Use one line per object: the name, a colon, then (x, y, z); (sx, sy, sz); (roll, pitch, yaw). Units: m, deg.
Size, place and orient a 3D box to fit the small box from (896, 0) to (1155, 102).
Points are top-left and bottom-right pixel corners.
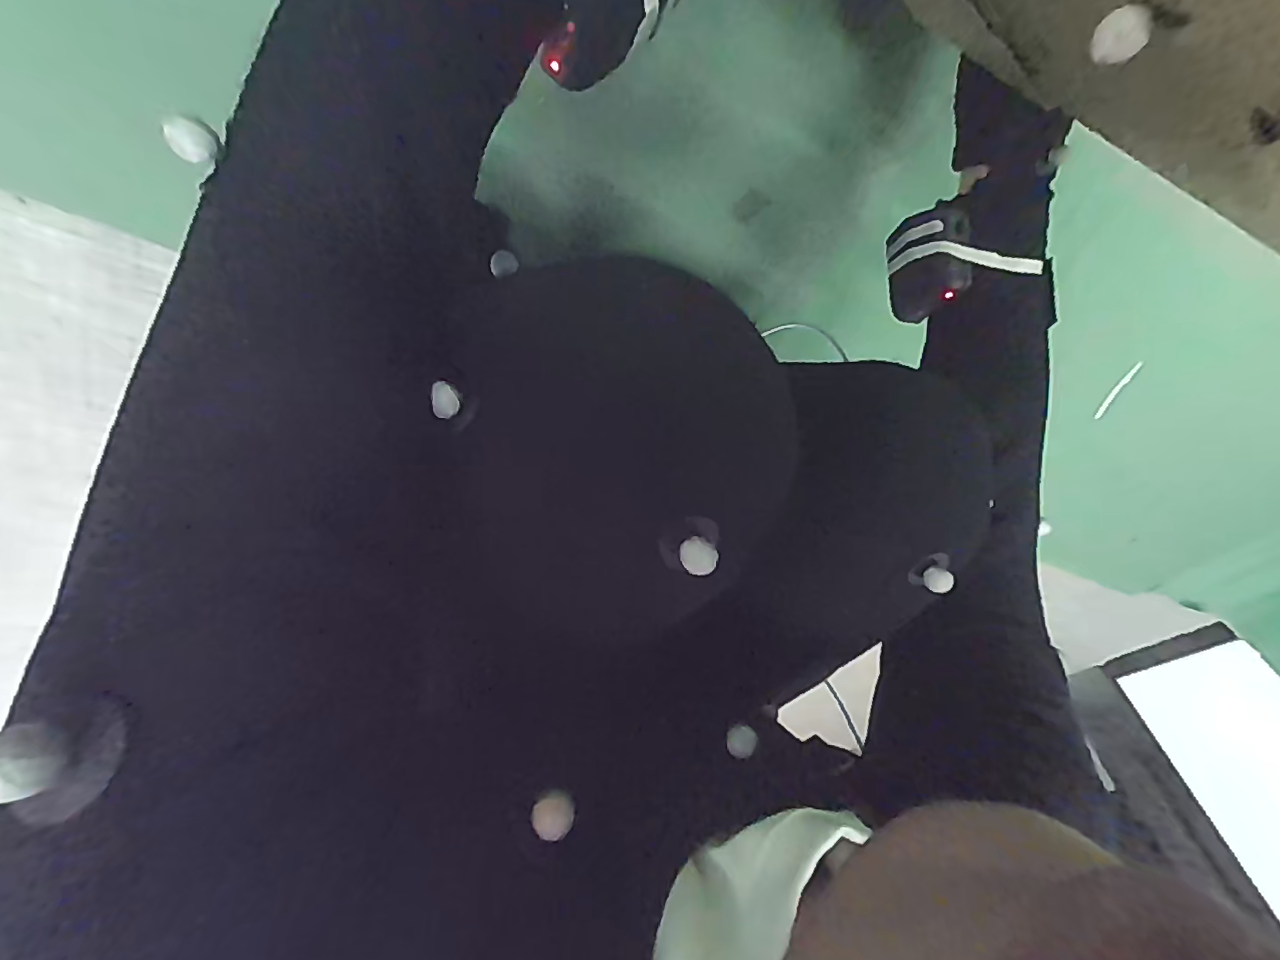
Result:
small box: (0.197, -0.342, 0.255); (0.168, 0.176, 0.179); (15, 136, -35)
